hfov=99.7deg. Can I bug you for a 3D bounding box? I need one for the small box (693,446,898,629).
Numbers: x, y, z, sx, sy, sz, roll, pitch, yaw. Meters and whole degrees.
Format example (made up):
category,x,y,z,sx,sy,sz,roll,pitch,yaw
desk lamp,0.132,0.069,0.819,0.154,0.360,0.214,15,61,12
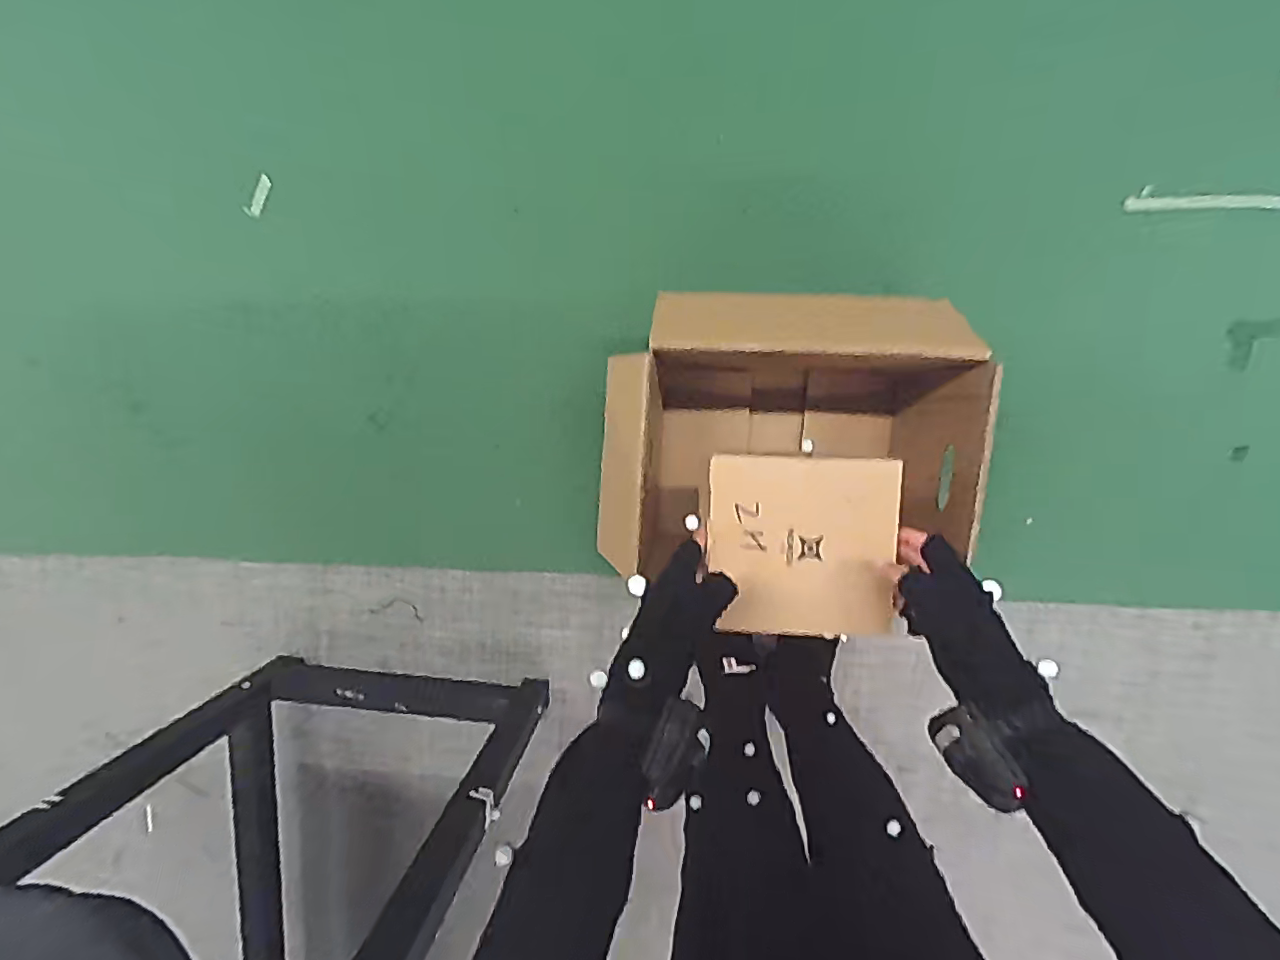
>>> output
category,x,y,z,sx,sy,sz,roll,pitch,yaw
small box,0.151,0.050,0.585,0.179,0.176,0.168,2,95,3
